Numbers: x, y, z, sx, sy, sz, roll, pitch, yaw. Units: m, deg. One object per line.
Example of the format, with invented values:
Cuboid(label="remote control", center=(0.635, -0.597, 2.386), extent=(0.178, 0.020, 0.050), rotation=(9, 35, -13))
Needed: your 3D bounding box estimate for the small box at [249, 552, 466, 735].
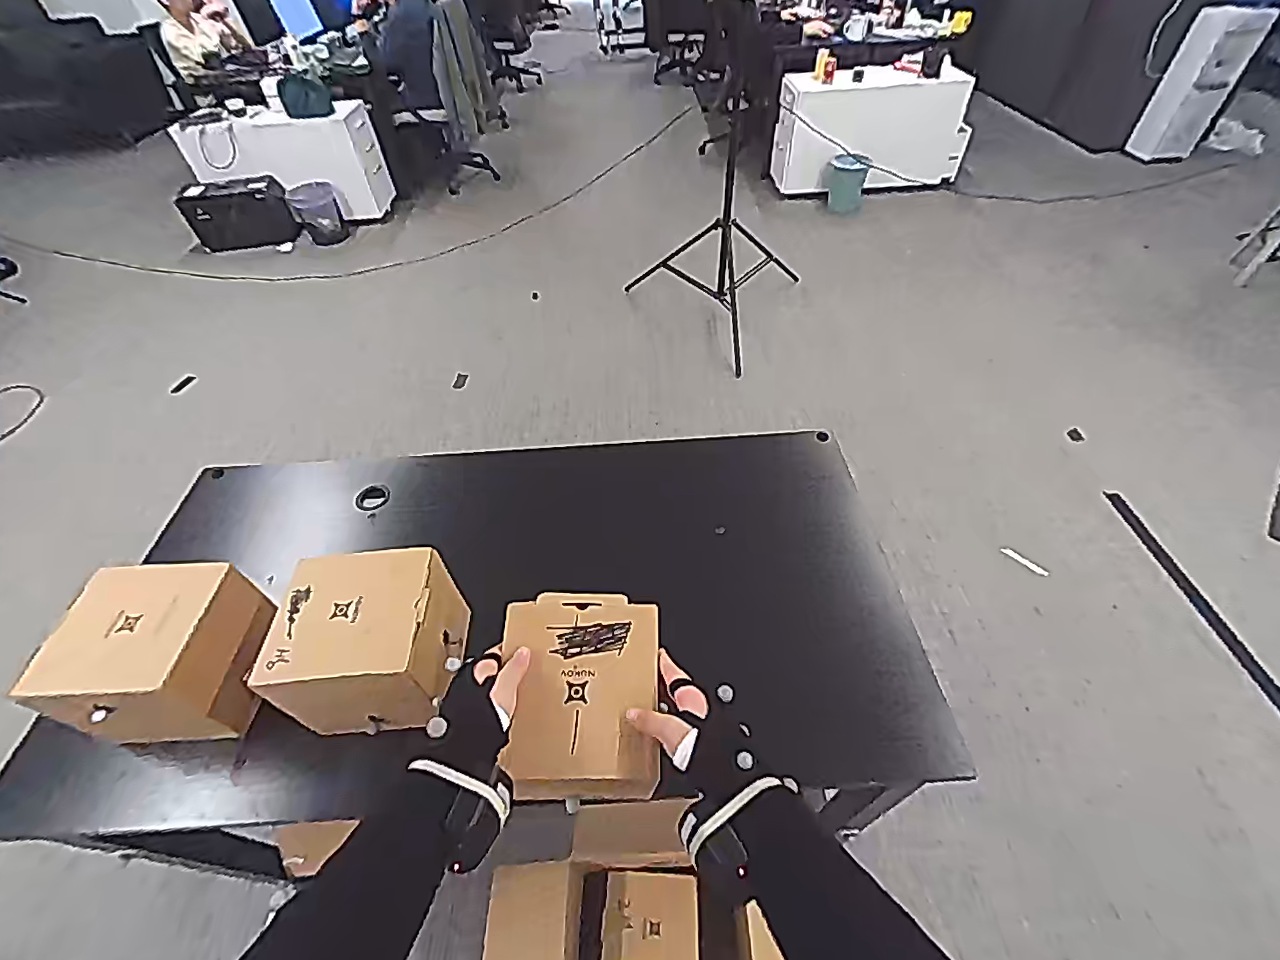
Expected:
Cuboid(label="small box", center=(-0.334, 0.209, 0.687), extent=(0.179, 0.176, 0.168), rotation=(-4, 48, -2))

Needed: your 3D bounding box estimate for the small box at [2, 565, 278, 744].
Cuboid(label="small box", center=(-0.596, 0.225, 0.688), extent=(0.179, 0.176, 0.168), rotation=(-2, 48, 0))

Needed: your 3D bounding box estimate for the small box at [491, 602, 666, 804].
Cuboid(label="small box", center=(-0.062, 0.255, 0.614), extent=(0.168, 0.176, 0.179), rotation=(1, 52, -3))
